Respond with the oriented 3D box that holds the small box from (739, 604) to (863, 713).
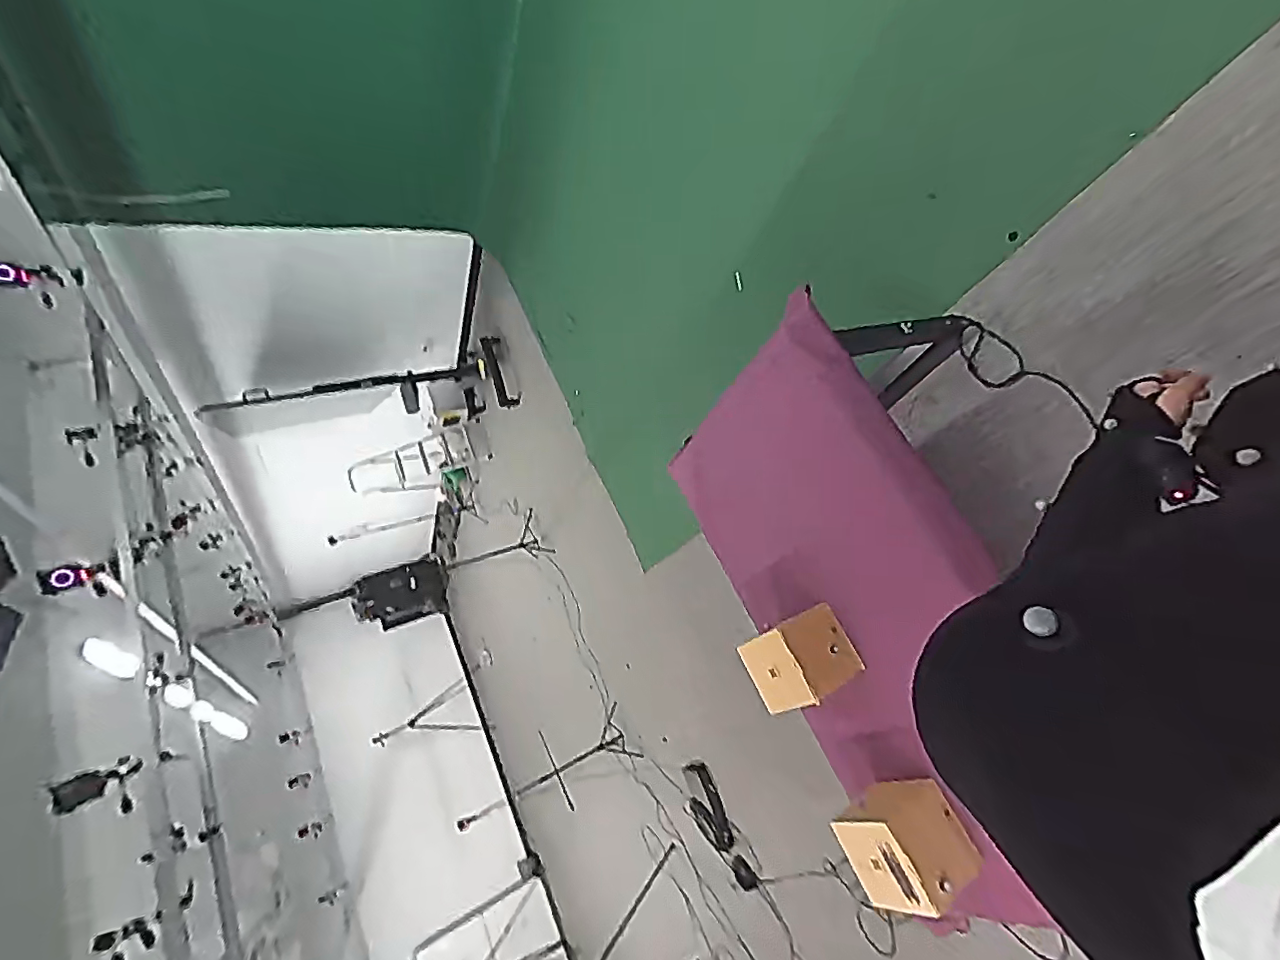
[{"bbox_3d":[0.367,0.406,1.236,0.168,0.176,0.179,63,146,19],"label":"small box"}]
